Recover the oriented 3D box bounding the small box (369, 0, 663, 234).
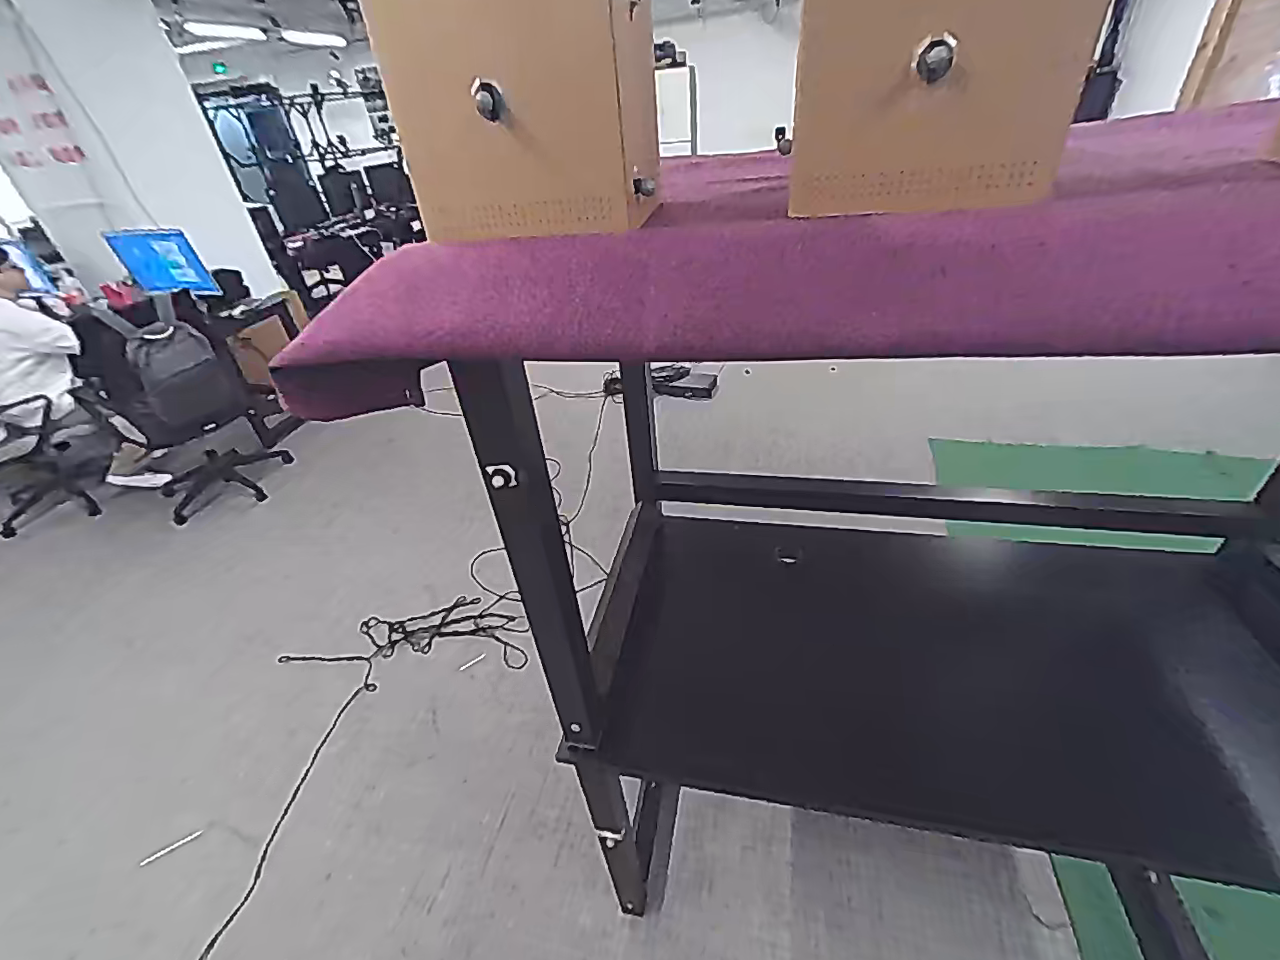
[{"bbox_3d":[-0.079,-0.311,0.445,0.179,0.176,0.168,2,36,11],"label":"small box"}]
